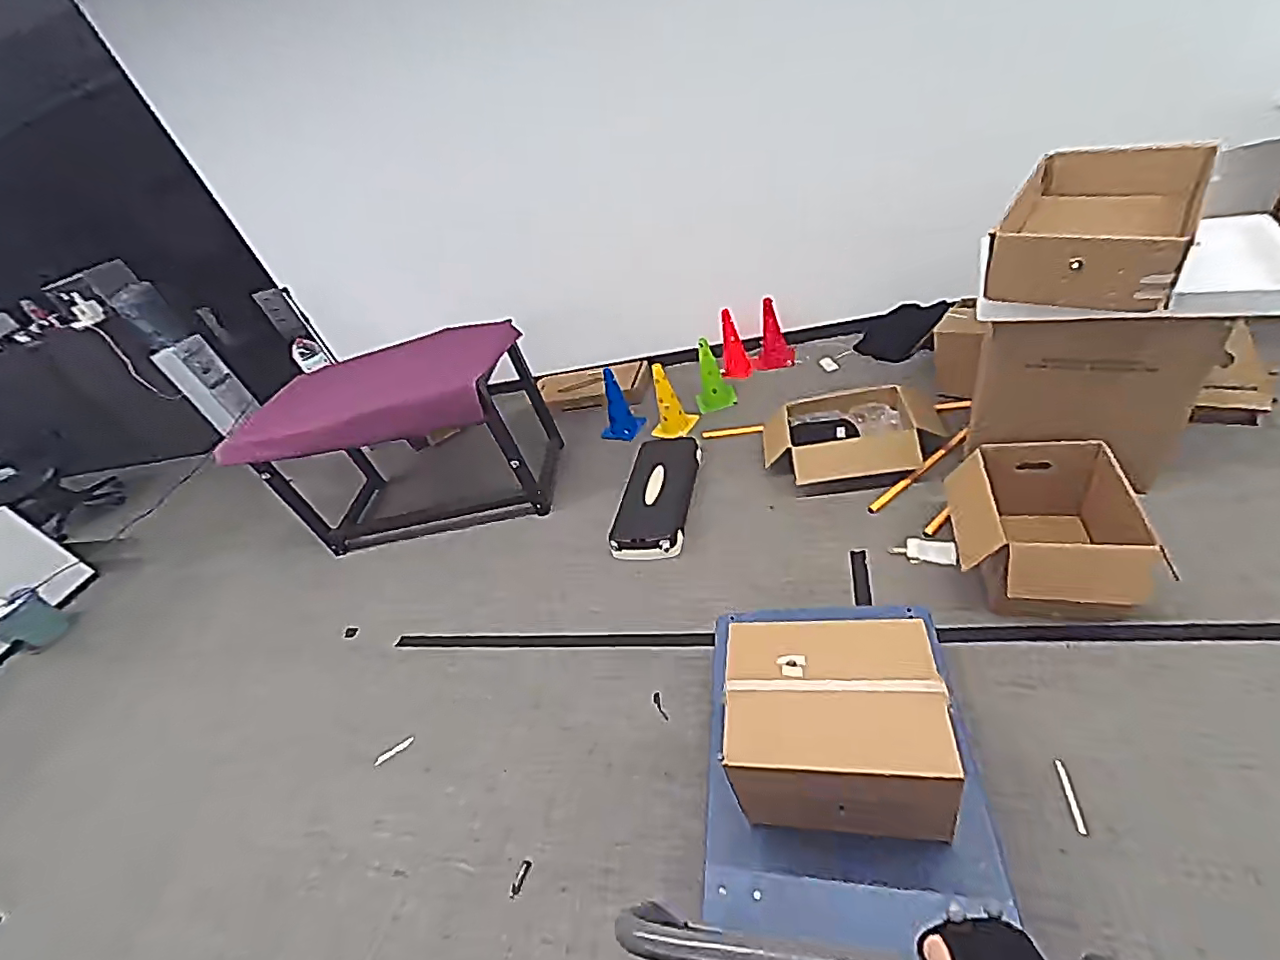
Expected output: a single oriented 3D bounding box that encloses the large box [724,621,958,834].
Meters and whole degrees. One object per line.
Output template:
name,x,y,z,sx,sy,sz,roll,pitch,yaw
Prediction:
large box,0.413,0.531,1.164,0.408,0.320,0.320,-8,38,18
